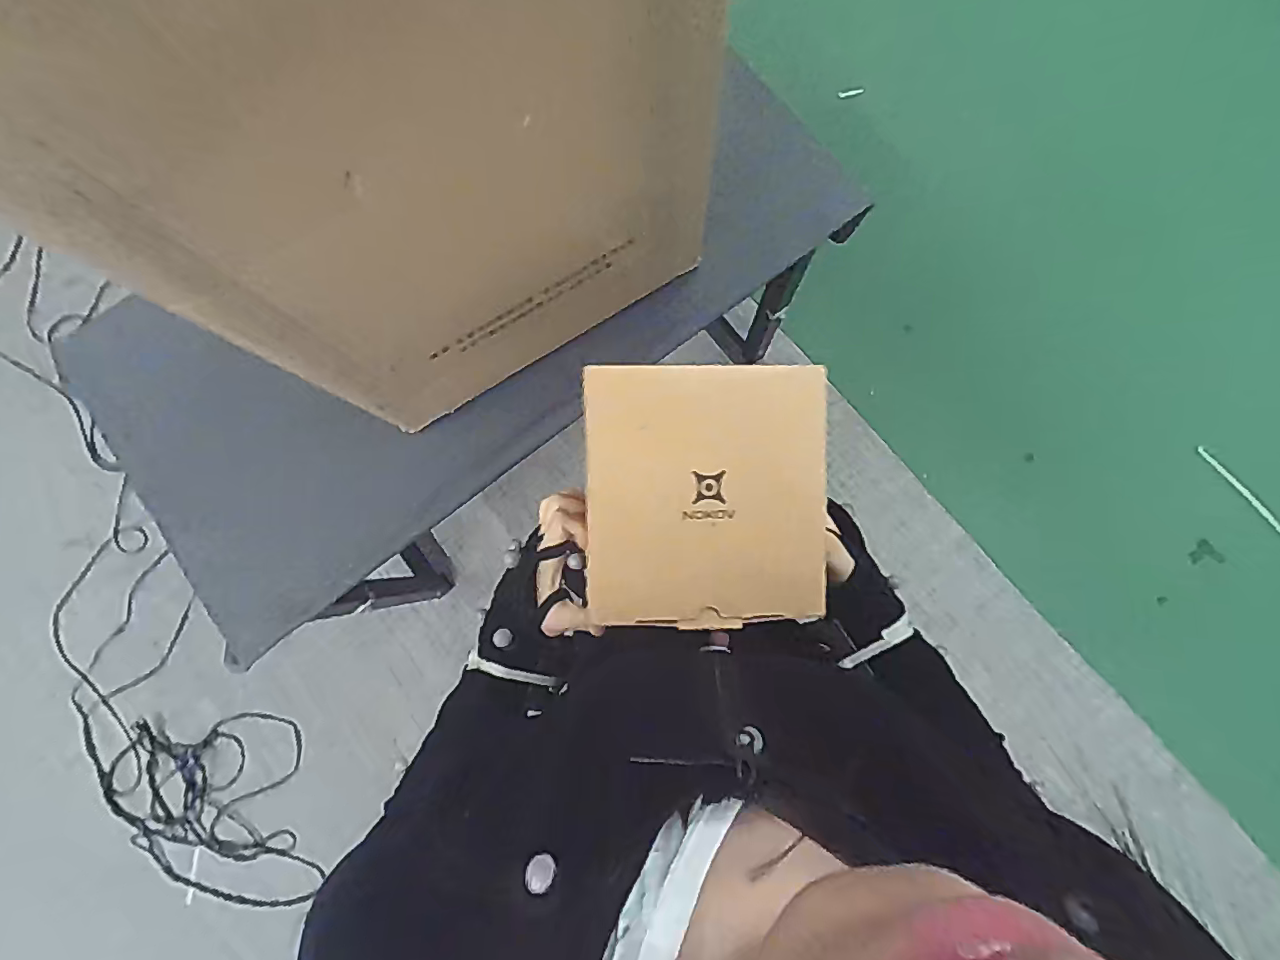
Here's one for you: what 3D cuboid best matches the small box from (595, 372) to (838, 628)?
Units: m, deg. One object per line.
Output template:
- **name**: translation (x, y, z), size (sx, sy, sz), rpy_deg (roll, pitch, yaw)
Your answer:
- **small box**: translation (0.048, 0.012, 0.452), size (0.168, 0.176, 0.179), rpy_deg (0, 93, -6)
